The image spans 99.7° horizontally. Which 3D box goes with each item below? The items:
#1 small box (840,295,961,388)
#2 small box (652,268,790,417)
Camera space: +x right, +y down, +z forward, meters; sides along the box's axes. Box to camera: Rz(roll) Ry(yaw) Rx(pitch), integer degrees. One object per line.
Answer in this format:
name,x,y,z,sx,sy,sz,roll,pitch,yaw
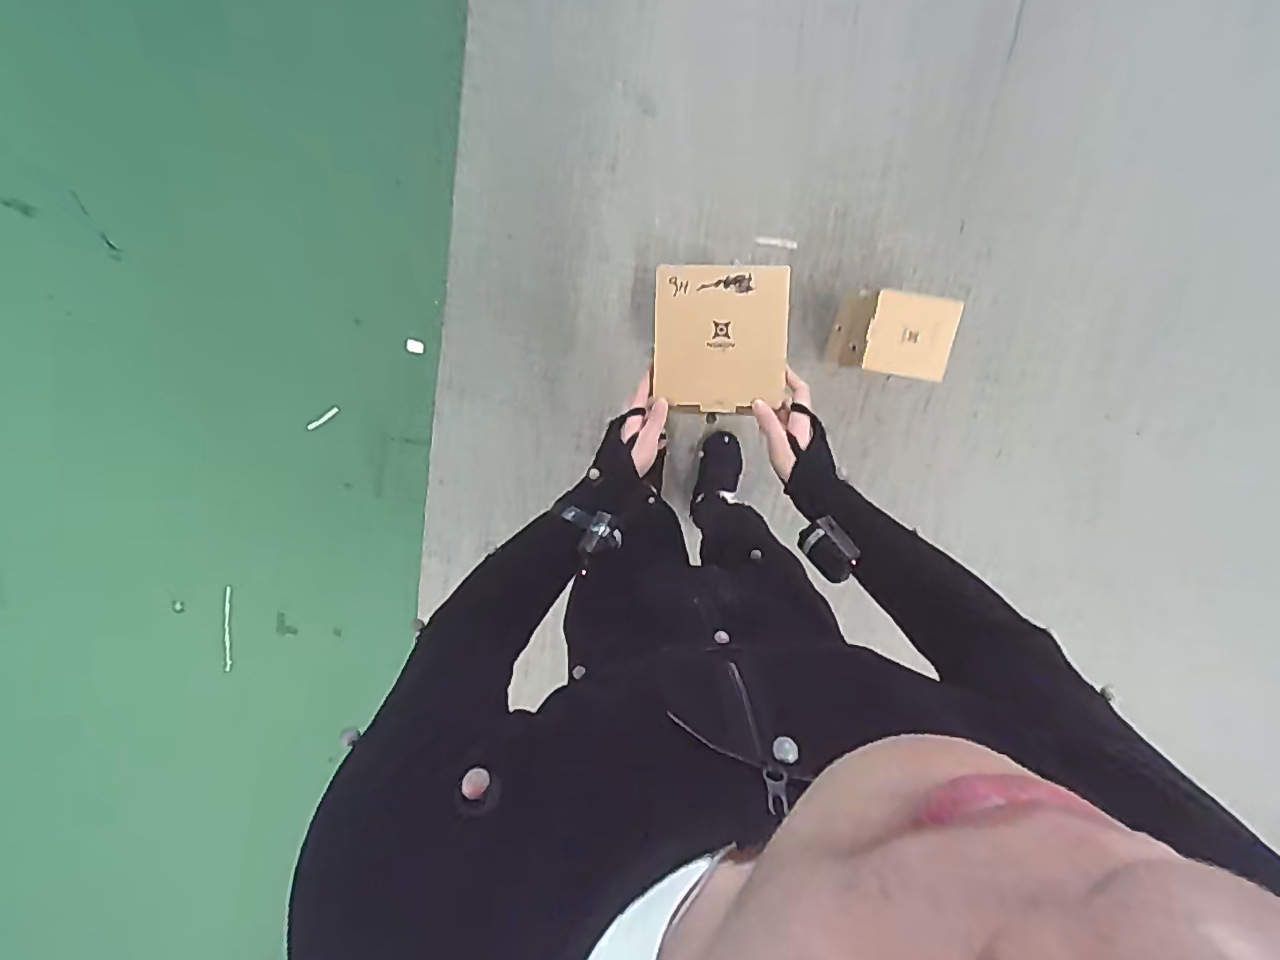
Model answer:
small box,0.568,-0.302,1.208,0.179,0.176,0.168,11,102,2
small box,0.102,-0.177,0.742,0.168,0.176,0.179,1,94,2
